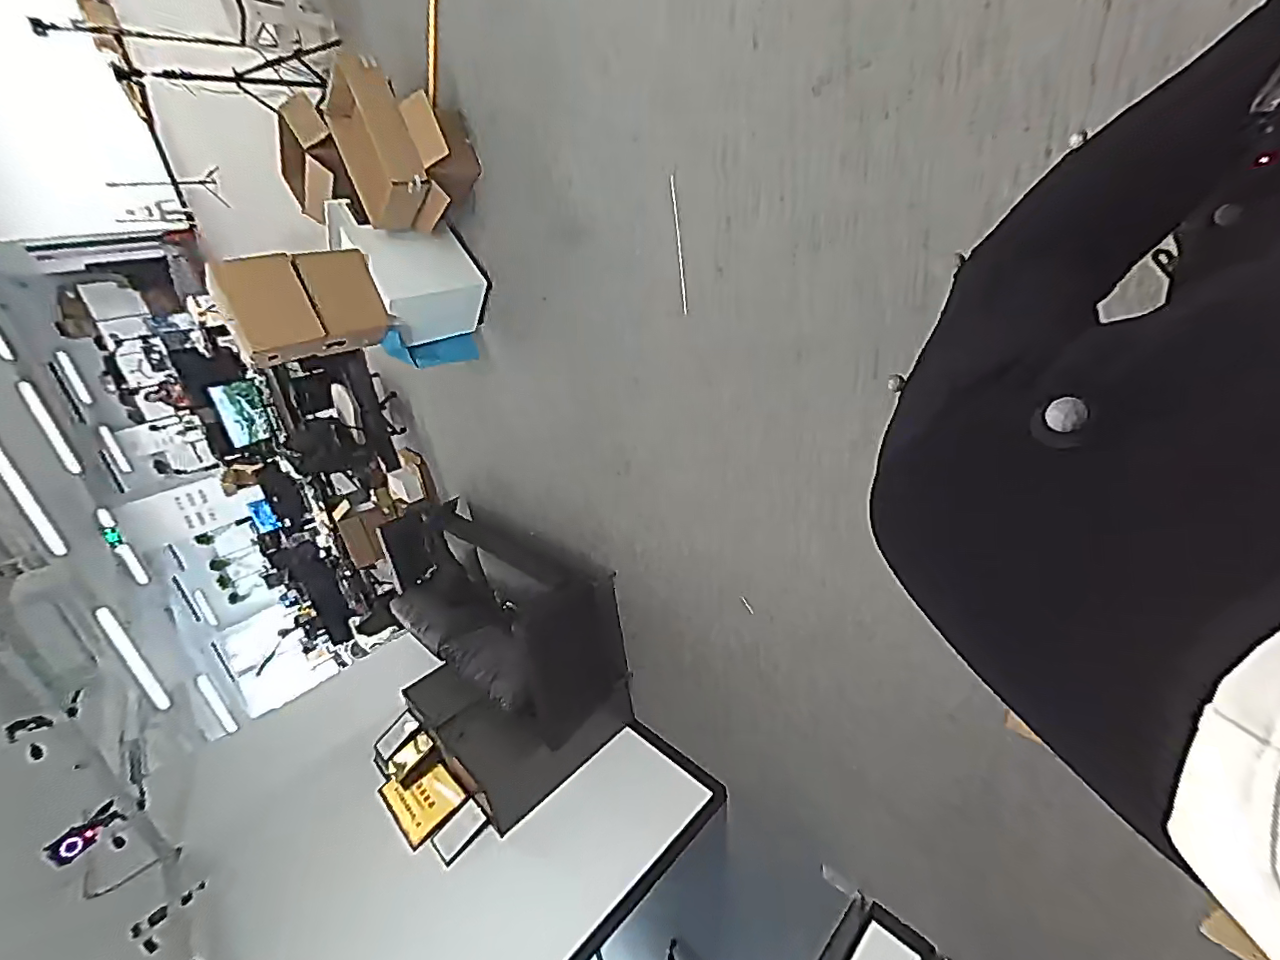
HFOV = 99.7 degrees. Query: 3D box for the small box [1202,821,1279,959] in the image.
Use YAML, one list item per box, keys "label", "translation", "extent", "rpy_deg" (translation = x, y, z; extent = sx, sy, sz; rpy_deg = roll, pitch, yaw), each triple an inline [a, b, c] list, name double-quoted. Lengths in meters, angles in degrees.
- label: "small box"
  translation: [1.261, 0.824, 1.055]
  extent: [0.179, 0.176, 0.168]
  rpy_deg: [26, 130, 40]
